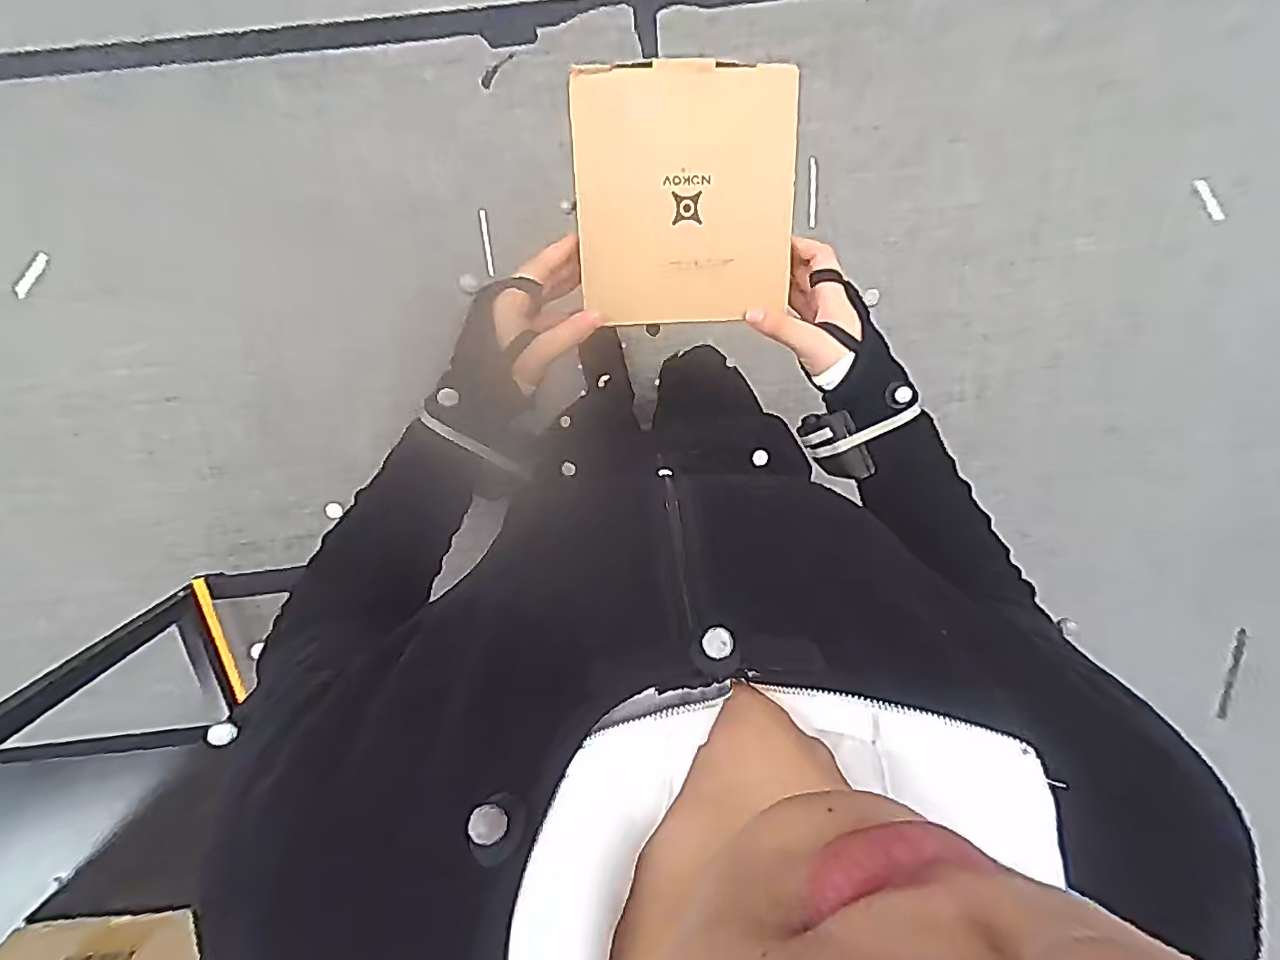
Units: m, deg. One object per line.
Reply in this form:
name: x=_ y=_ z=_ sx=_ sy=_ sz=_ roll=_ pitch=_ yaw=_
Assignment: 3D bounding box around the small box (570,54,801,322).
small box: x=0.026 y=-0.234 z=0.472 sx=0.168 sy=0.176 sz=0.179 roll=-4 pitch=110 yaw=-5
